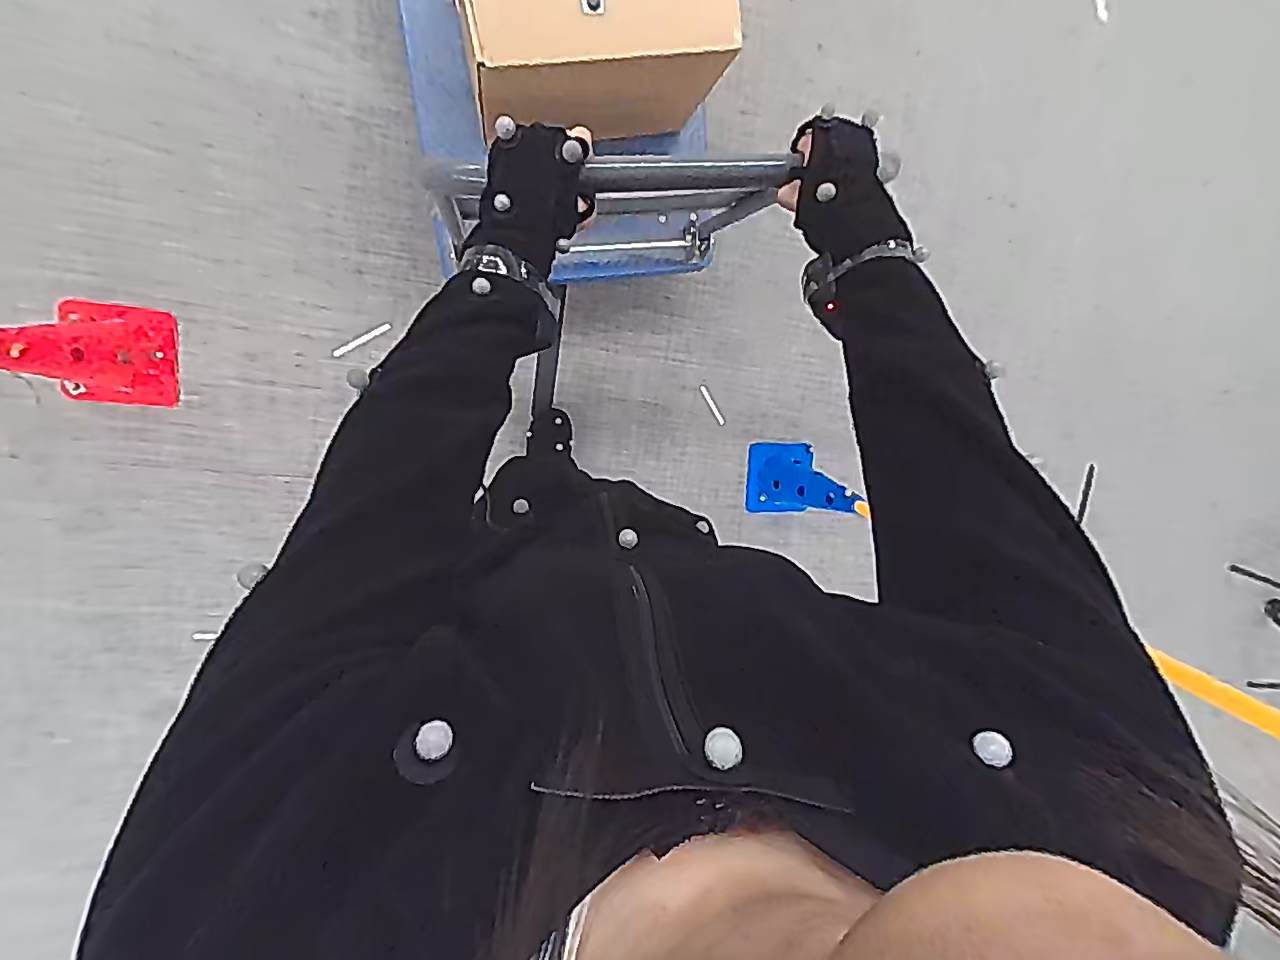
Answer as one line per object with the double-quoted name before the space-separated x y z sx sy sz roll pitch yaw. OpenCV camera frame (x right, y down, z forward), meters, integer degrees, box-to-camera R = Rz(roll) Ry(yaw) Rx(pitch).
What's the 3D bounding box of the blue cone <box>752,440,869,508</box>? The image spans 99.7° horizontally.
"blue cone" 0.446 0.012 1.373 0.193 0.380 0.192 1 99 -15
